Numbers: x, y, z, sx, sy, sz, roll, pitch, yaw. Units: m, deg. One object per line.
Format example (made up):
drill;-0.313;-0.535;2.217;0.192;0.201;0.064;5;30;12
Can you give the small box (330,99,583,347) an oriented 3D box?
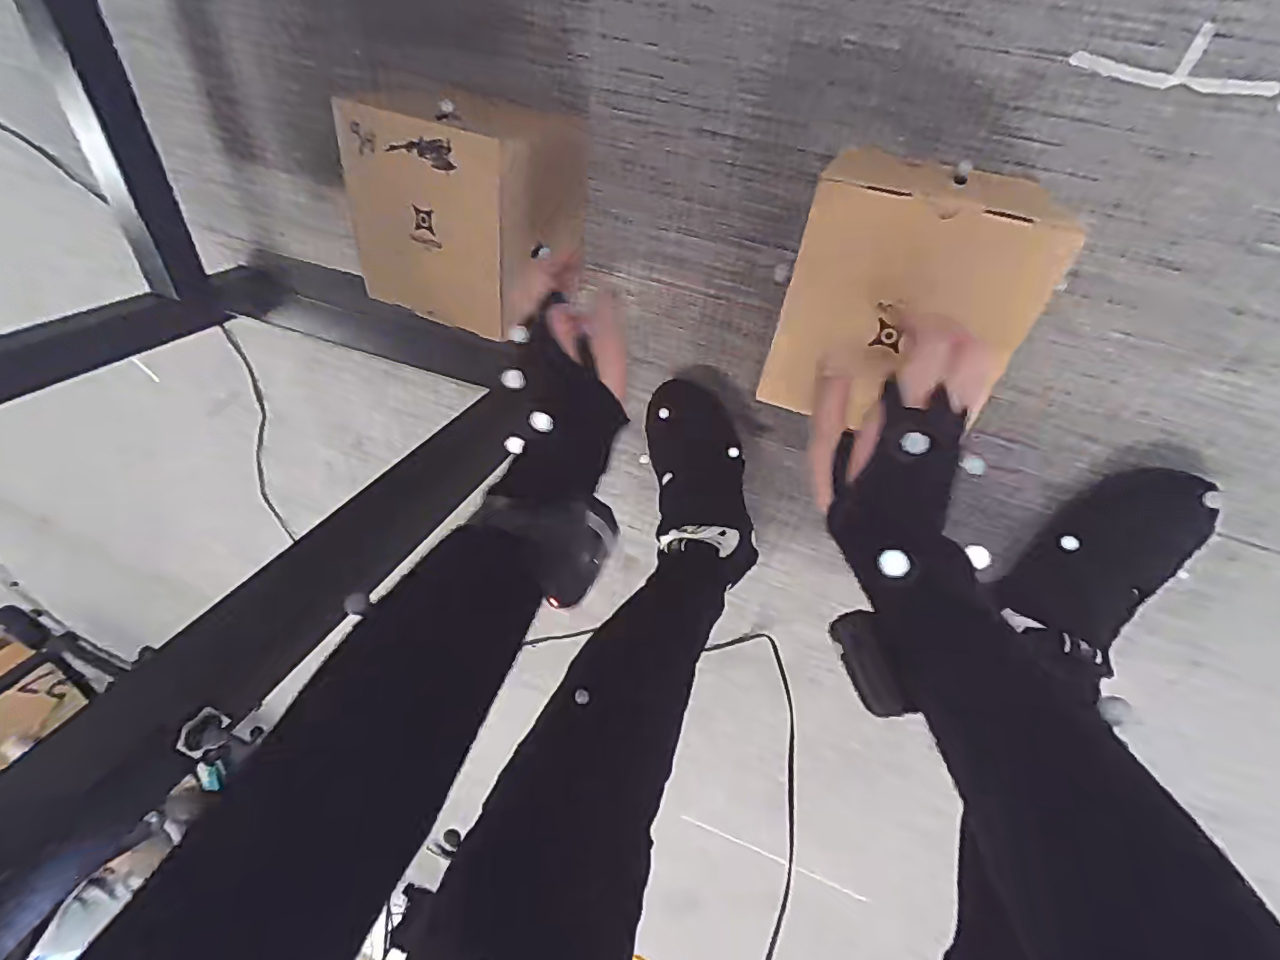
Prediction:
small box;-0.170;-0.268;0.553;0.168;0.176;0.179;21;130;11
